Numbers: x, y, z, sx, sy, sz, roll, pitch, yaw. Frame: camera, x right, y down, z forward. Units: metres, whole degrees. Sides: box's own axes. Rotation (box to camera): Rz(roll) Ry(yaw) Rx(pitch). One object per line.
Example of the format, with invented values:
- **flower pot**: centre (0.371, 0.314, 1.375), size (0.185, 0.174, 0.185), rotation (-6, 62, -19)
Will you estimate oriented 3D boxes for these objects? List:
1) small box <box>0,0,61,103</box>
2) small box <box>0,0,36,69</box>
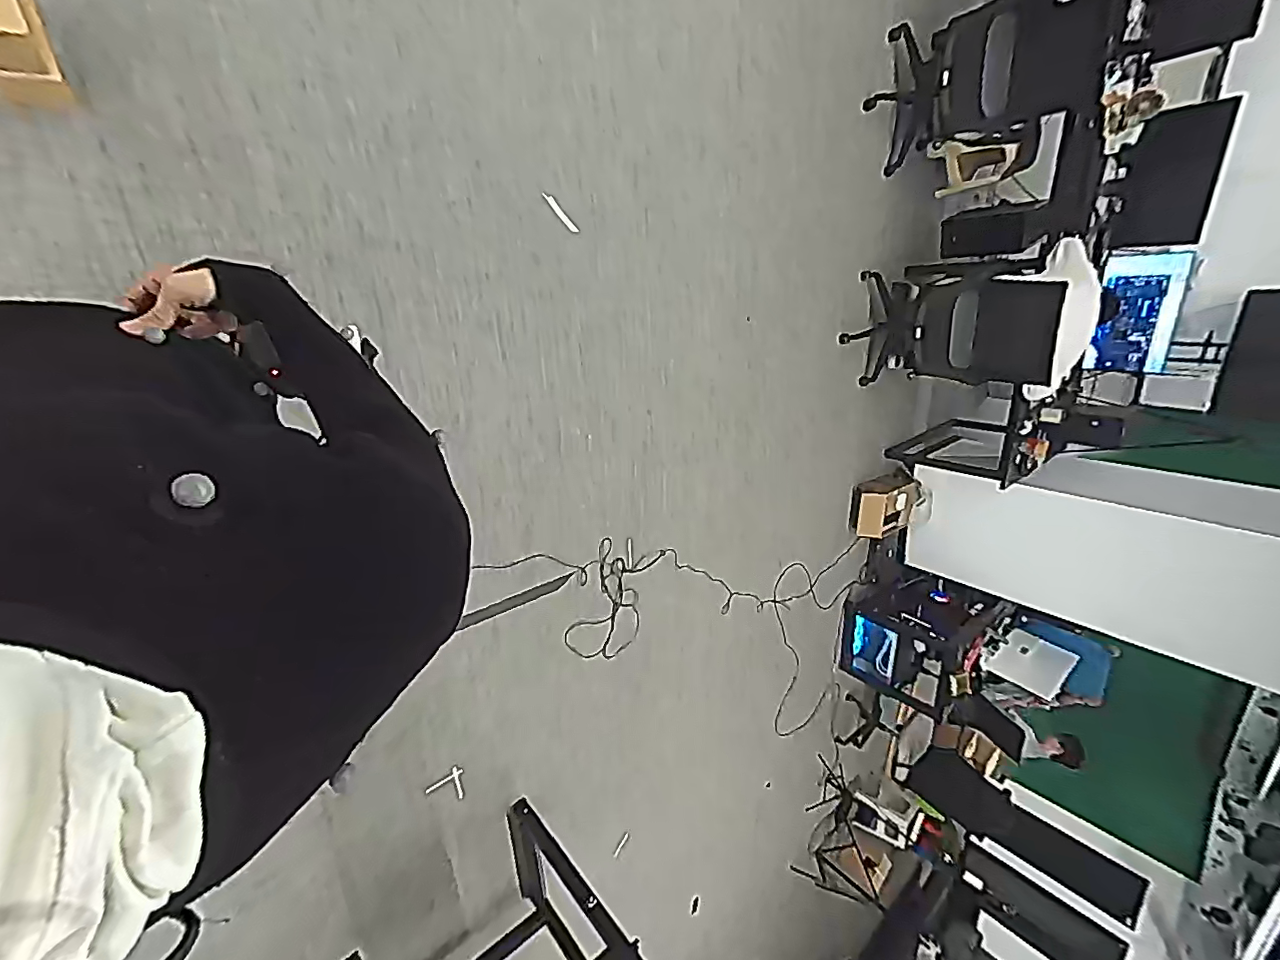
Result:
- **small box**: centre (-1.126, -0.760, 0.906), size (0.168, 0.176, 0.179), rotation (-21, 115, -35)
- **small box**: centre (-1.029, -0.727, 0.777), size (0.168, 0.176, 0.179), rotation (-21, 115, -36)
